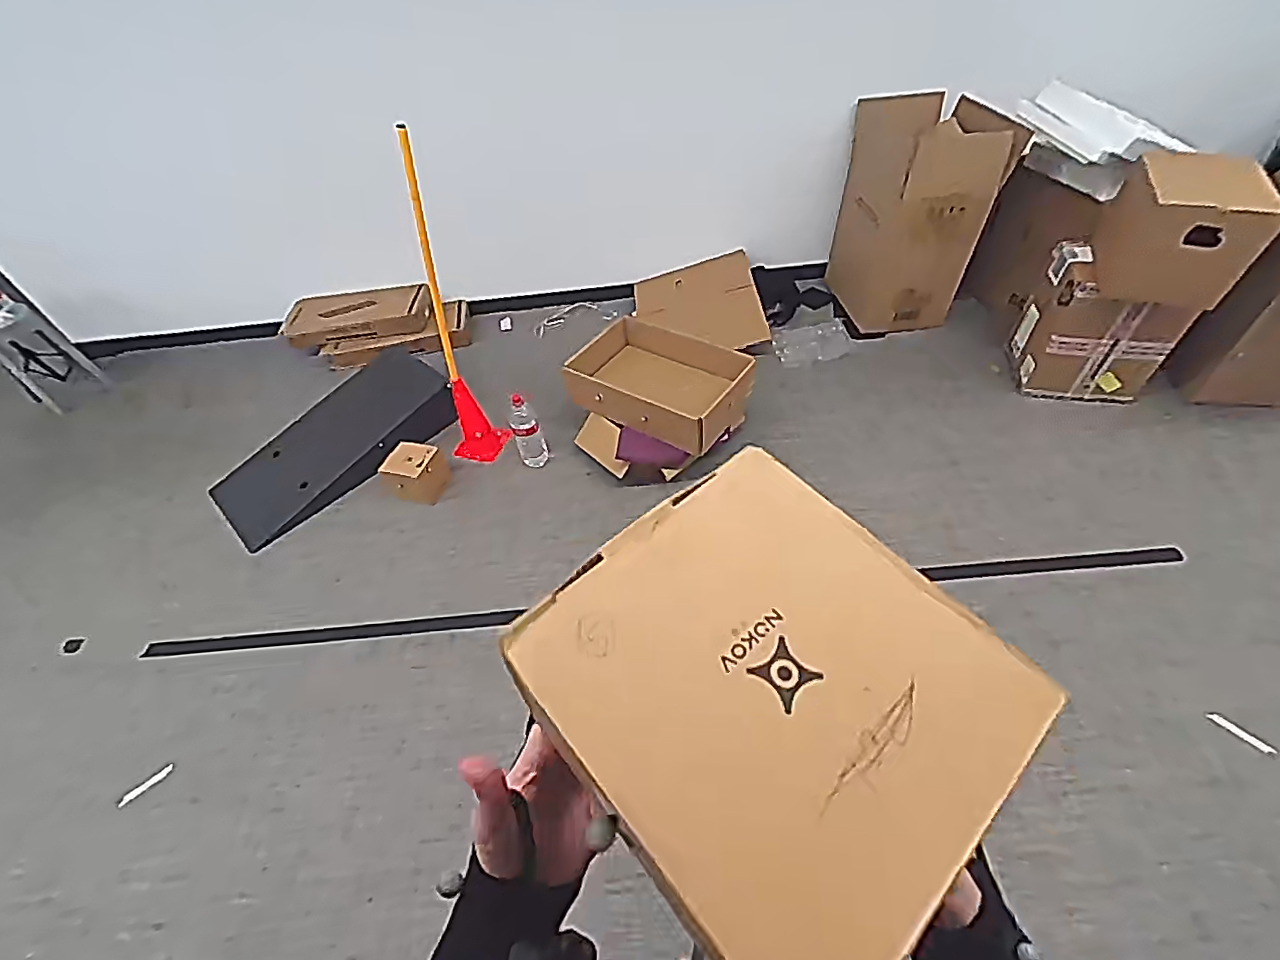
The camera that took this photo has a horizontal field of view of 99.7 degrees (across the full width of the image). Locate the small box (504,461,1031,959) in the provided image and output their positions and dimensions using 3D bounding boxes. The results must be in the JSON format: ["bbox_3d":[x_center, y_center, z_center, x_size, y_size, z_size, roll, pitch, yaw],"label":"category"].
[{"bbox_3d":[0.051,0.129,0.302,0.168,0.176,0.179,-36,64,-24],"label":"small box"}]
